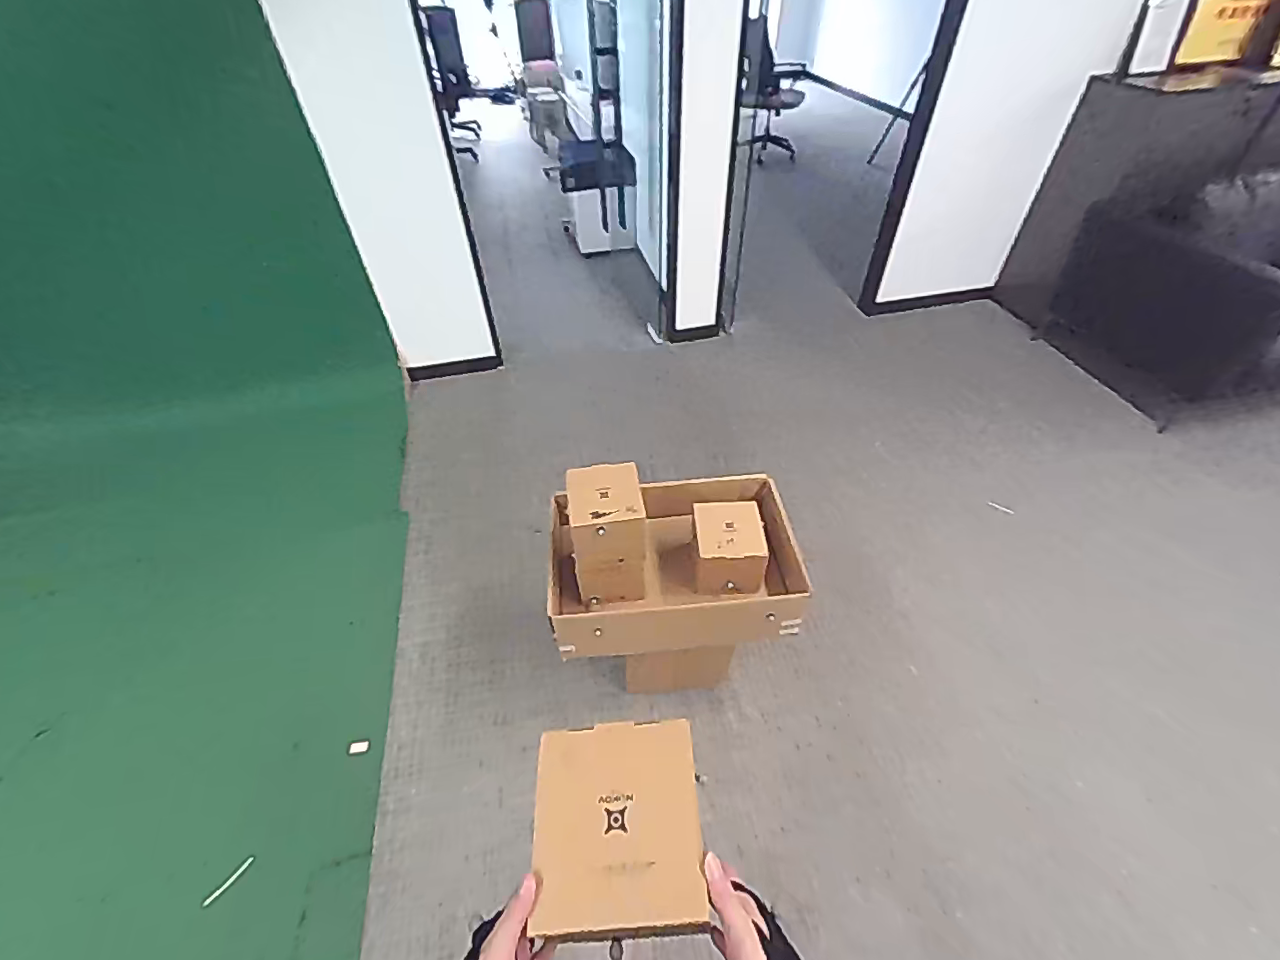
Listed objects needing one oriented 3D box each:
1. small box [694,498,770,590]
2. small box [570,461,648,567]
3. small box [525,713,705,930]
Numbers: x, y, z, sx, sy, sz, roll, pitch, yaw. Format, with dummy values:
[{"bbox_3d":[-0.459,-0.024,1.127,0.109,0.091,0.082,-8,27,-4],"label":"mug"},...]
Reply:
[{"bbox_3d":[0.231,0.167,1.401,0.168,0.176,0.179,-3,47,1],"label":"small box"},{"bbox_3d":[-0.073,0.081,1.276,0.168,0.176,0.179,-8,47,-3],"label":"small box"},{"bbox_3d":[-0.018,0.384,0.606,0.168,0.176,0.179,-6,48,4],"label":"small box"}]
